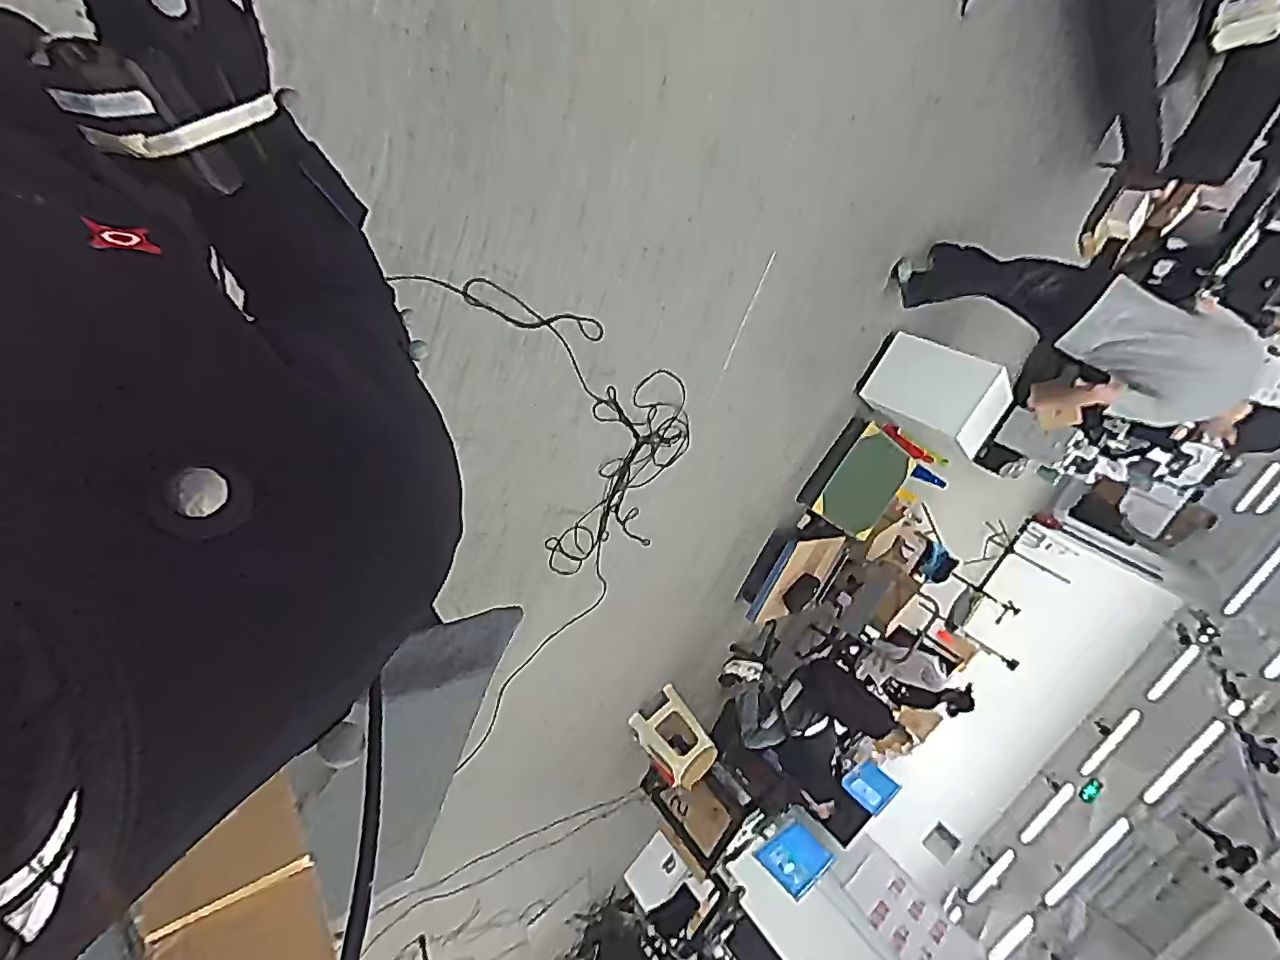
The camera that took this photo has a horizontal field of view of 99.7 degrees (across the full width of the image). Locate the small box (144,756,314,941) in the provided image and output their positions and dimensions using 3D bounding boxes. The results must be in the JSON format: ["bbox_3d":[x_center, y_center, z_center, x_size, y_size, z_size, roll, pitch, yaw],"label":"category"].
[{"bbox_3d":[-0.572,0.536,0.759,0.168,0.176,0.179,-10,125,-42],"label":"small box"}]

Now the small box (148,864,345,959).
[{"bbox_3d":[-0.477,0.629,0.663,0.179,0.176,0.168,-4,121,-44],"label":"small box"}]
